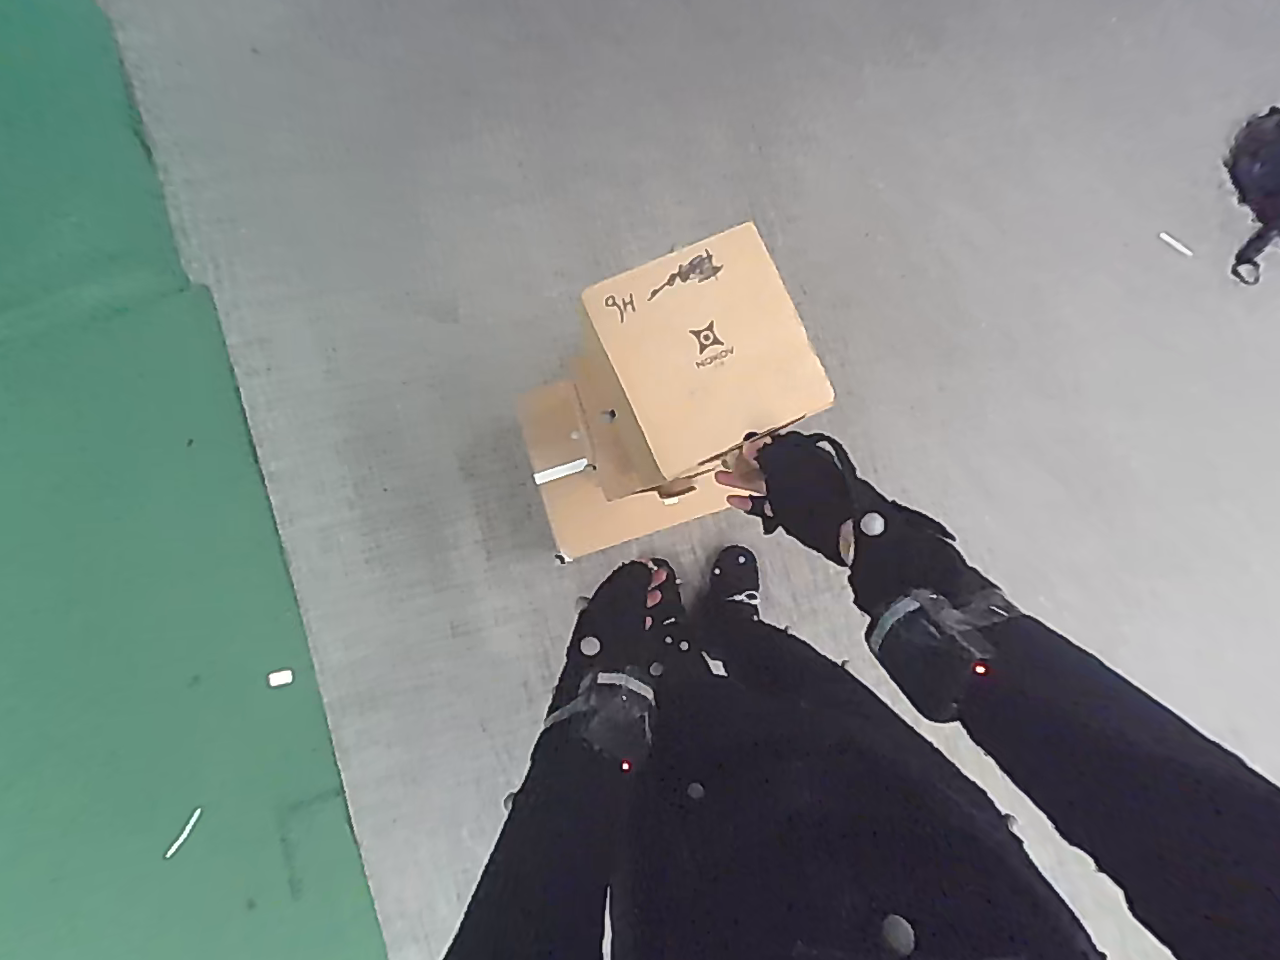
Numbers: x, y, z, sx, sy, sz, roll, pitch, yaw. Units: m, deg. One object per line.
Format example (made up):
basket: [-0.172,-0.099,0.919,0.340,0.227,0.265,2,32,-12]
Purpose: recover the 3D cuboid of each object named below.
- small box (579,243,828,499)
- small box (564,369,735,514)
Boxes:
small box: [0.050,-0.093,0.540,0.168,0.176,0.179,-25,90,-6]
small box: [0.007,-0.067,0.719,0.168,0.176,0.179,-18,92,-5]
